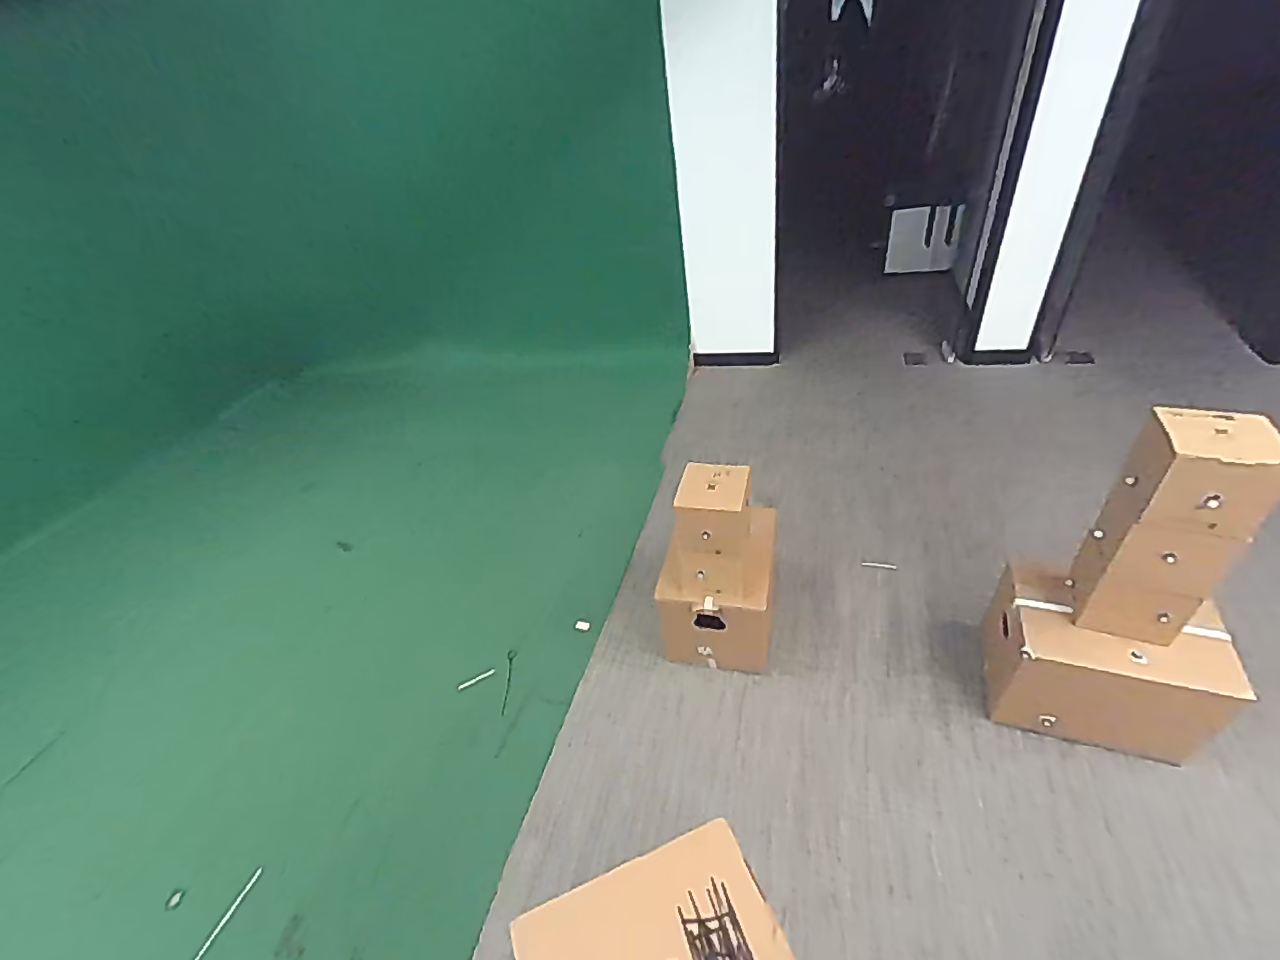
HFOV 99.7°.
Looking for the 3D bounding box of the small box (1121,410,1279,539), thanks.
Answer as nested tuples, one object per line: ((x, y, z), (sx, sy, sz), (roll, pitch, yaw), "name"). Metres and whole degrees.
((1.068, -0.011, 1.035), (0.168, 0.176, 0.179), (11, 41, 24), "small box")

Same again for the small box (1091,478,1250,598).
((1.091, 0.121, 1.130), (0.179, 0.176, 0.168), (10, 40, 25), "small box")

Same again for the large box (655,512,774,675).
((0.255, 0.343, 1.705), (0.320, 0.320, 0.408), (3, 39, 16), "large box")

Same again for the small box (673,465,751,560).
((0.192, 0.084, 1.382), (0.168, 0.176, 0.179), (5, 40, 18), "small box")

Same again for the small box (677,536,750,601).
((0.208, 0.210, 1.488), (0.168, 0.176, 0.179), (4, 40, 18), "small box")

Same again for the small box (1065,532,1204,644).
((1.111, 0.248, 1.232), (0.179, 0.176, 0.168), (10, 41, 24), "small box")
